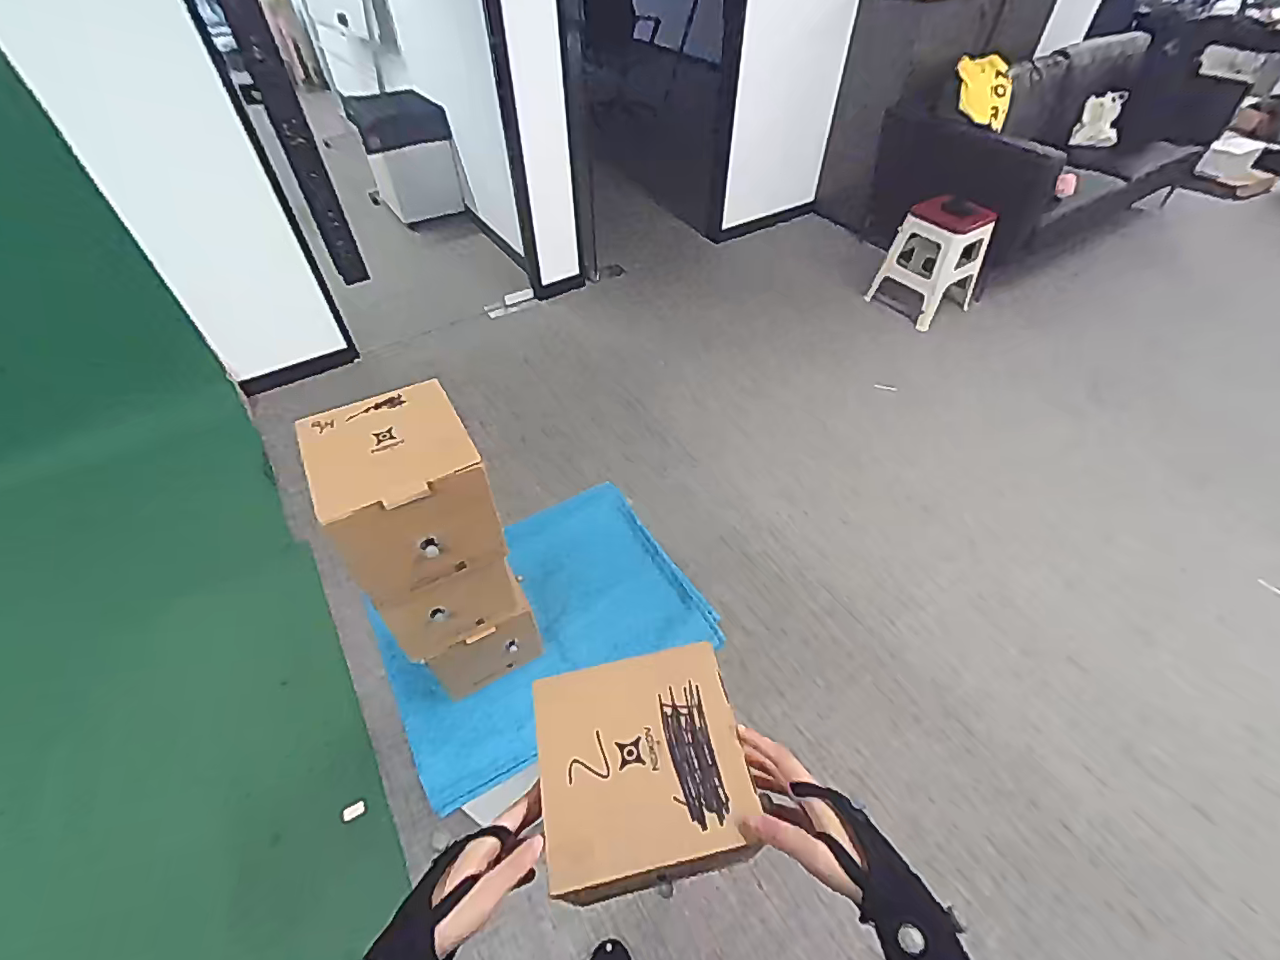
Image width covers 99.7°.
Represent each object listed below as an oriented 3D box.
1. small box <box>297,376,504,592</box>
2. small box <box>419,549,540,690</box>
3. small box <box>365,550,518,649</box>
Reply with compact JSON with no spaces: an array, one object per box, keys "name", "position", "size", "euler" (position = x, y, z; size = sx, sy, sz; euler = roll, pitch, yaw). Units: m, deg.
[{"name":"small box","position":[-0.277,0.010,0.647],"size":[0.168,0.176,0.179],"euler":[-22,51,-20]},{"name":"small box","position":[-0.279,0.221,0.895],"size":[0.168,0.176,0.179],"euler":[-23,51,-21]},{"name":"small box","position":[-0.288,0.116,0.772],"size":[0.168,0.176,0.179],"euler":[-22,50,-20]}]
